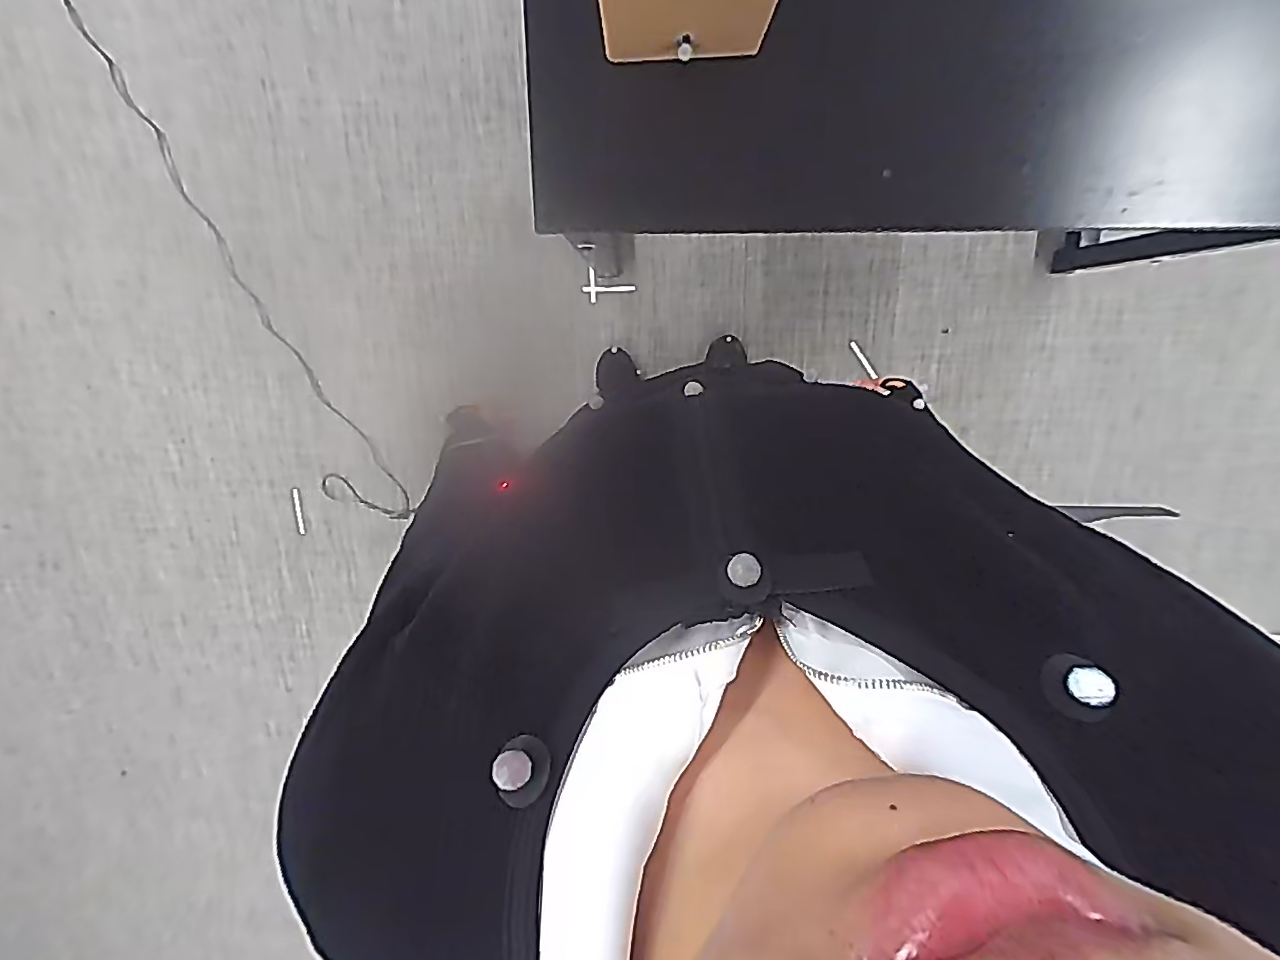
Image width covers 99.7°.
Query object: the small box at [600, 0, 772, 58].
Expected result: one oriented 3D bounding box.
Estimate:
[{"bbox_3d":[0.045,-0.549,0.529,0.179,0.176,0.168,-3,105,0],"label":"small box"}]
